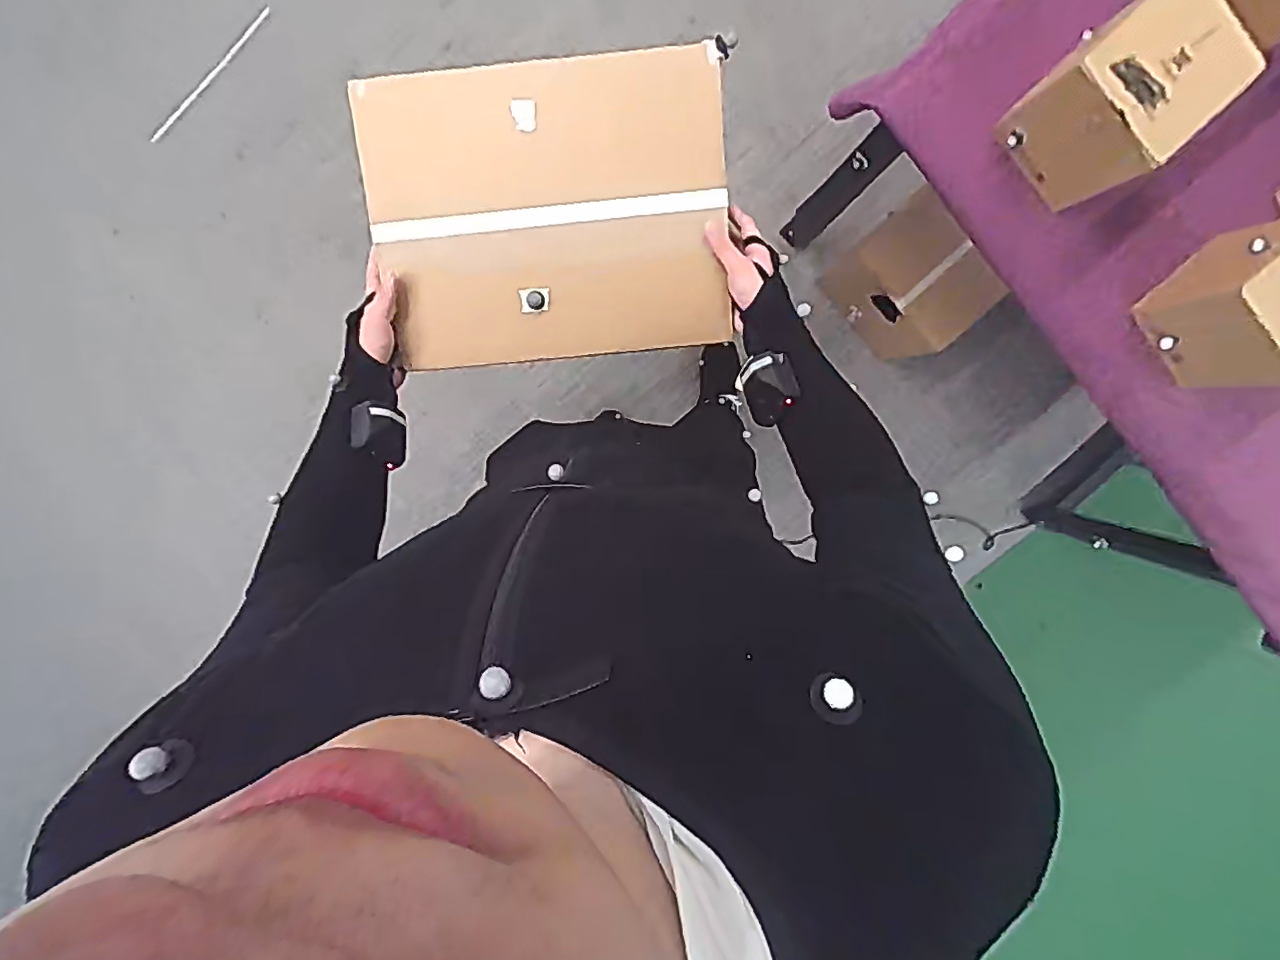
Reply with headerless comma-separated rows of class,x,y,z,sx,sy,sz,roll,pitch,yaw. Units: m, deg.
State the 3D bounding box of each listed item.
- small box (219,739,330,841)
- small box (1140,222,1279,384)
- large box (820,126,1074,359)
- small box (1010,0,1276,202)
small box,-1.085,0.915,1.621,0.179,0.176,0.168,44,95,-7
small box,0.893,-0.255,0.772,0.179,0.176,0.168,-41,96,5
large box,0.753,-0.571,1.391,0.408,0.320,0.320,-43,97,4
small box,0.647,-0.518,0.727,0.179,0.176,0.168,-44,97,4
